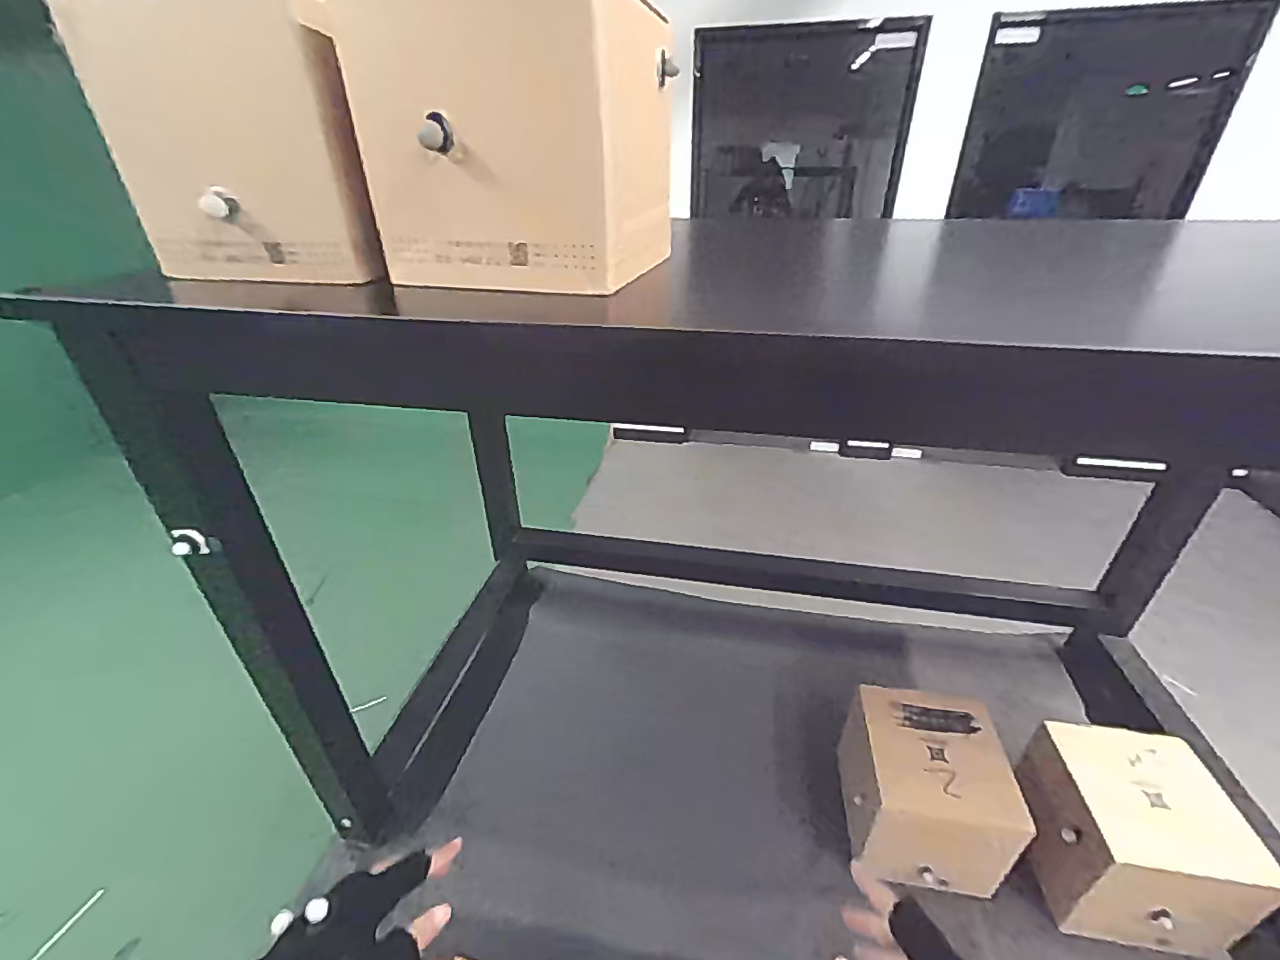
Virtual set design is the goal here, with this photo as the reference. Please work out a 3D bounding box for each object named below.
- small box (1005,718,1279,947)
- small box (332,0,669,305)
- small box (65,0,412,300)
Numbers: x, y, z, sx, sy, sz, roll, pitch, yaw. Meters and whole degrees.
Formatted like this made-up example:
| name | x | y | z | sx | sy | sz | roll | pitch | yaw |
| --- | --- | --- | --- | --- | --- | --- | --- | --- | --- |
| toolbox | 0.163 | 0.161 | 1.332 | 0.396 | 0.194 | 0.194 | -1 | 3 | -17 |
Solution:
| name | x | y | z | sx | sy | sz | roll | pitch | yaw |
| --- | --- | --- | --- | --- | --- | --- | --- | --- | --- |
| small box | 0.598 | 0.436 | 0.676 | 0.168 | 0.176 | 0.179 | 4 | 30 | 9 |
| small box | -0.075 | -0.232 | 0.399 | 0.168 | 0.176 | 0.179 | 7 | 31 | 14 |
| small box | -0.262 | -0.252 | 0.432 | 0.168 | 0.176 | 0.179 | 5 | 32 | 9 |
